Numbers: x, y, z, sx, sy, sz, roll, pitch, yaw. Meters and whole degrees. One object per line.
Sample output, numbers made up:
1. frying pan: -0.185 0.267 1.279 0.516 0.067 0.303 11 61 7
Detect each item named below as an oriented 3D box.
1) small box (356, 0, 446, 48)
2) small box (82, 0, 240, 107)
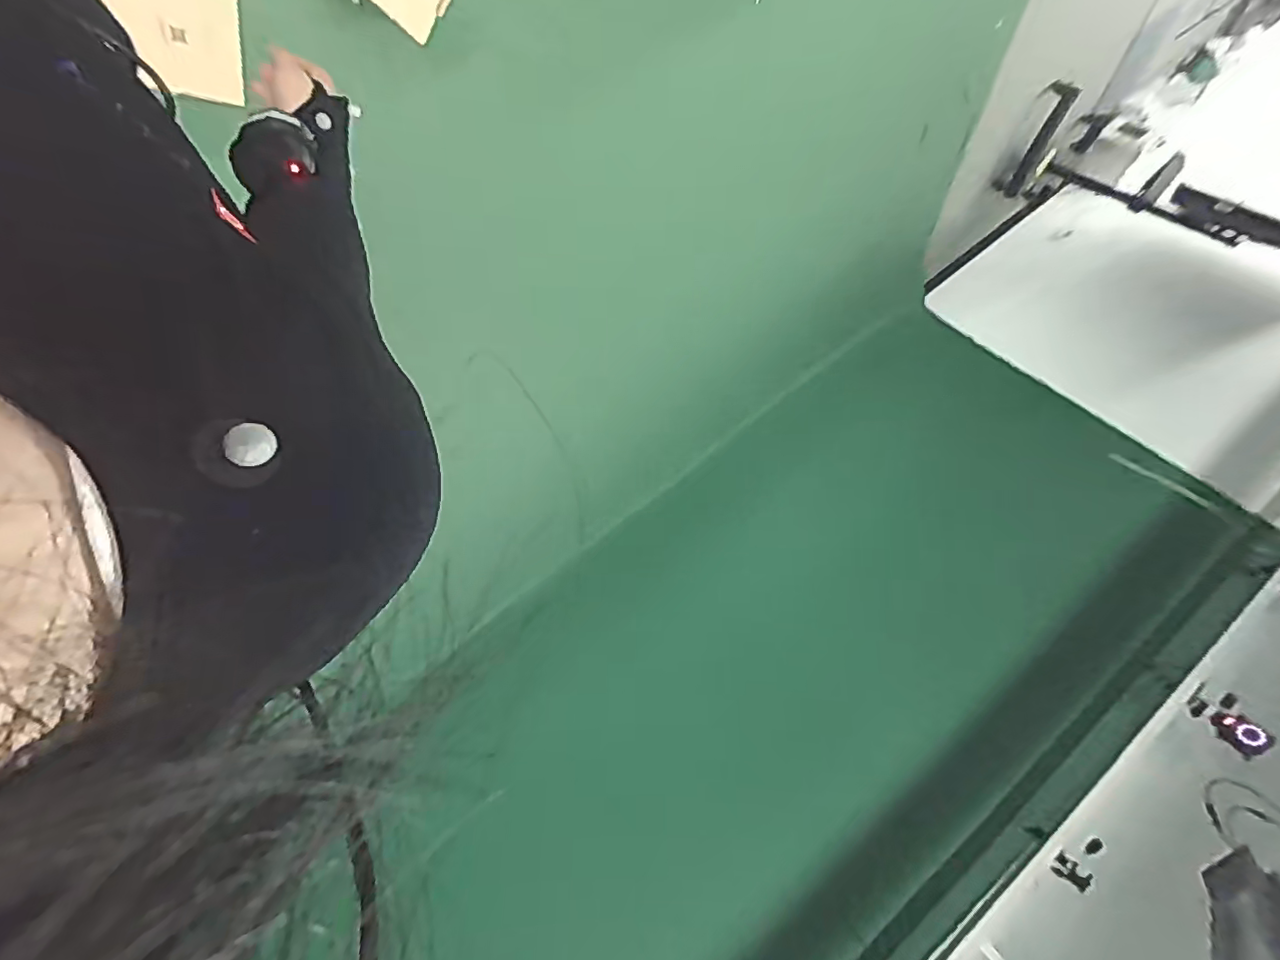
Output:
1. small box: -0.477 -0.969 1.002 0.168 0.176 0.179 -52 153 16
2. small box: -0.789 -0.754 0.886 0.179 0.176 0.168 -18 145 -43
